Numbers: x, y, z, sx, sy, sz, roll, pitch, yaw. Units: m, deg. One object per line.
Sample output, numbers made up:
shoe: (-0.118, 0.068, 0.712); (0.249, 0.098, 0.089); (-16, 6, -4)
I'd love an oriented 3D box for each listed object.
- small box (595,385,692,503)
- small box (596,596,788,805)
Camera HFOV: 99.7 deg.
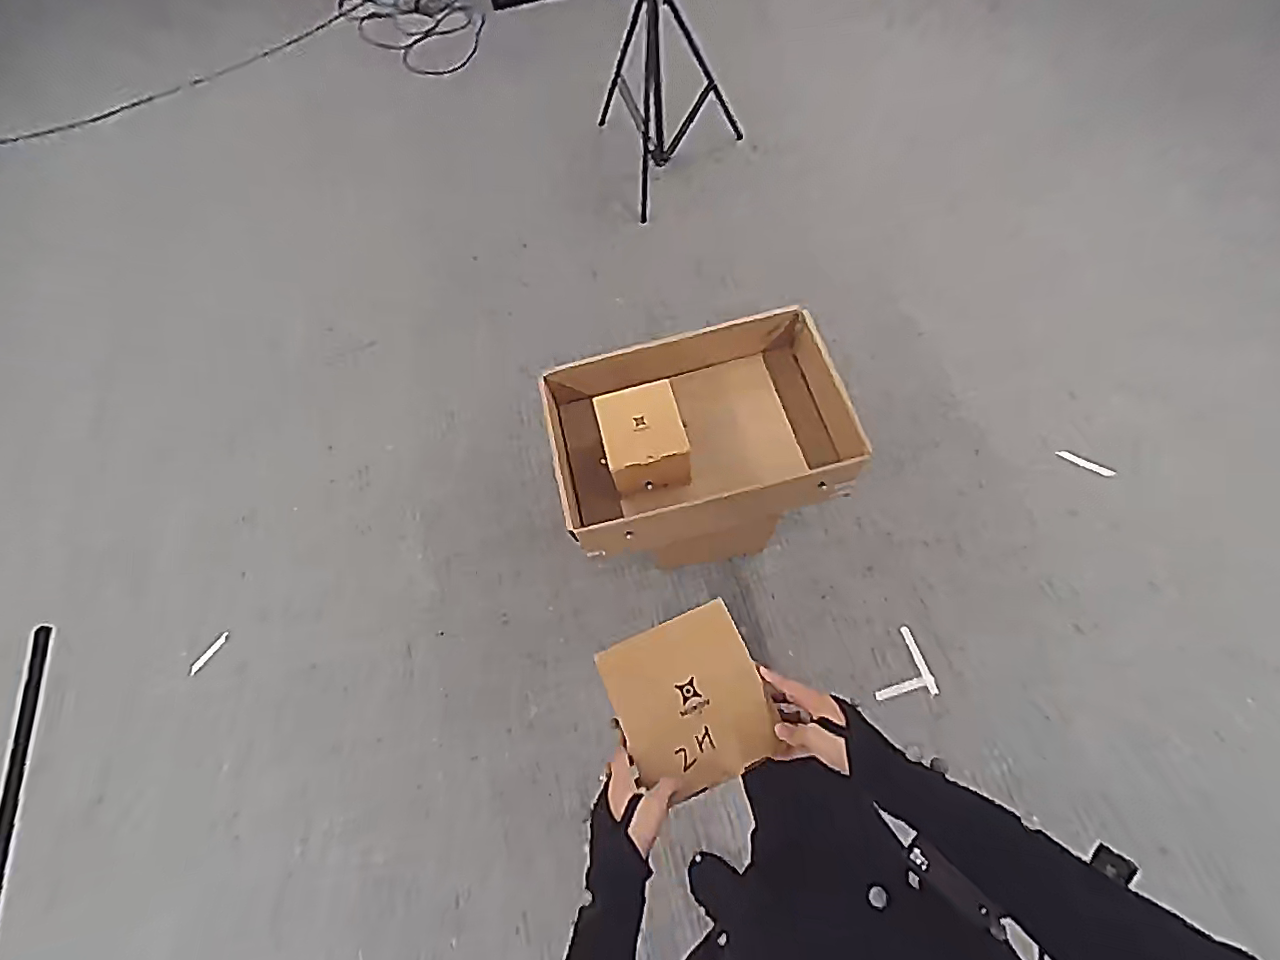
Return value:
small box: (0.009, -0.073, 1.167); (0.168, 0.176, 0.179); (-15, 67, -1)
small box: (0.054, 0.271, 0.681); (0.168, 0.176, 0.179); (-23, 70, -9)
